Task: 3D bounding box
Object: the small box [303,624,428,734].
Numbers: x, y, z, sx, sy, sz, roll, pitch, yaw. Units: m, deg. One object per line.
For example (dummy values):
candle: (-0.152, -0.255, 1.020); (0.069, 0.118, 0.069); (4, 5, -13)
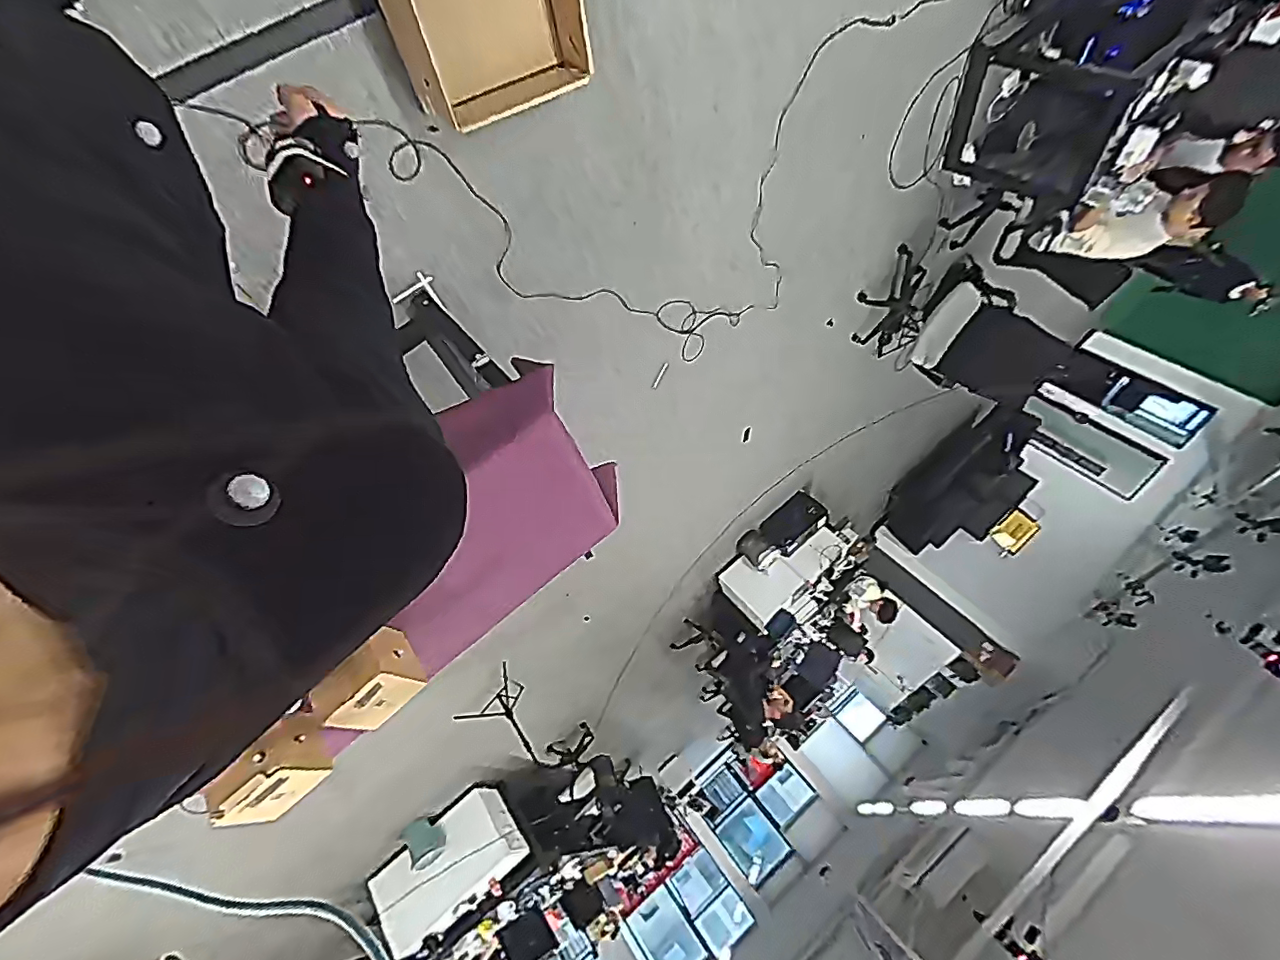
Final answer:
small box: (-0.643, 0.463, 1.265); (0.168, 0.176, 0.179); (-41, 149, -7)
